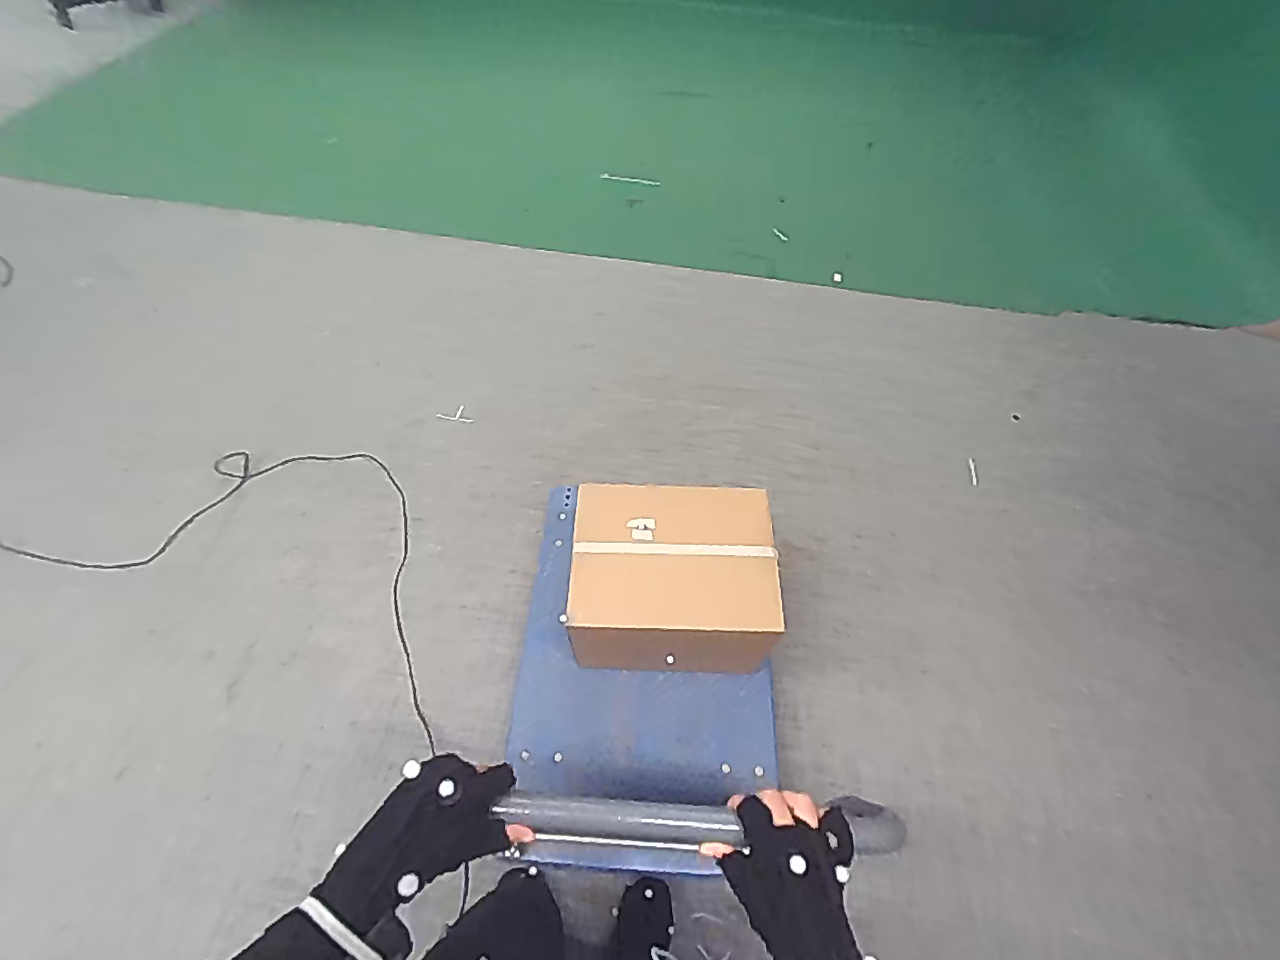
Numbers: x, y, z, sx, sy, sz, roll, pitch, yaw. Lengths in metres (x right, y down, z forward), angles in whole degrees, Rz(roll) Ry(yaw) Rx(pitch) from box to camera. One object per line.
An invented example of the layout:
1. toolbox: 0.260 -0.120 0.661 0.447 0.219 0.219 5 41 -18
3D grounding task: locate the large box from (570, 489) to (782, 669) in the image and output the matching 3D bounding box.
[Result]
1. large box: 0.067 0.230 1.206 0.408 0.320 0.320 1 56 0
